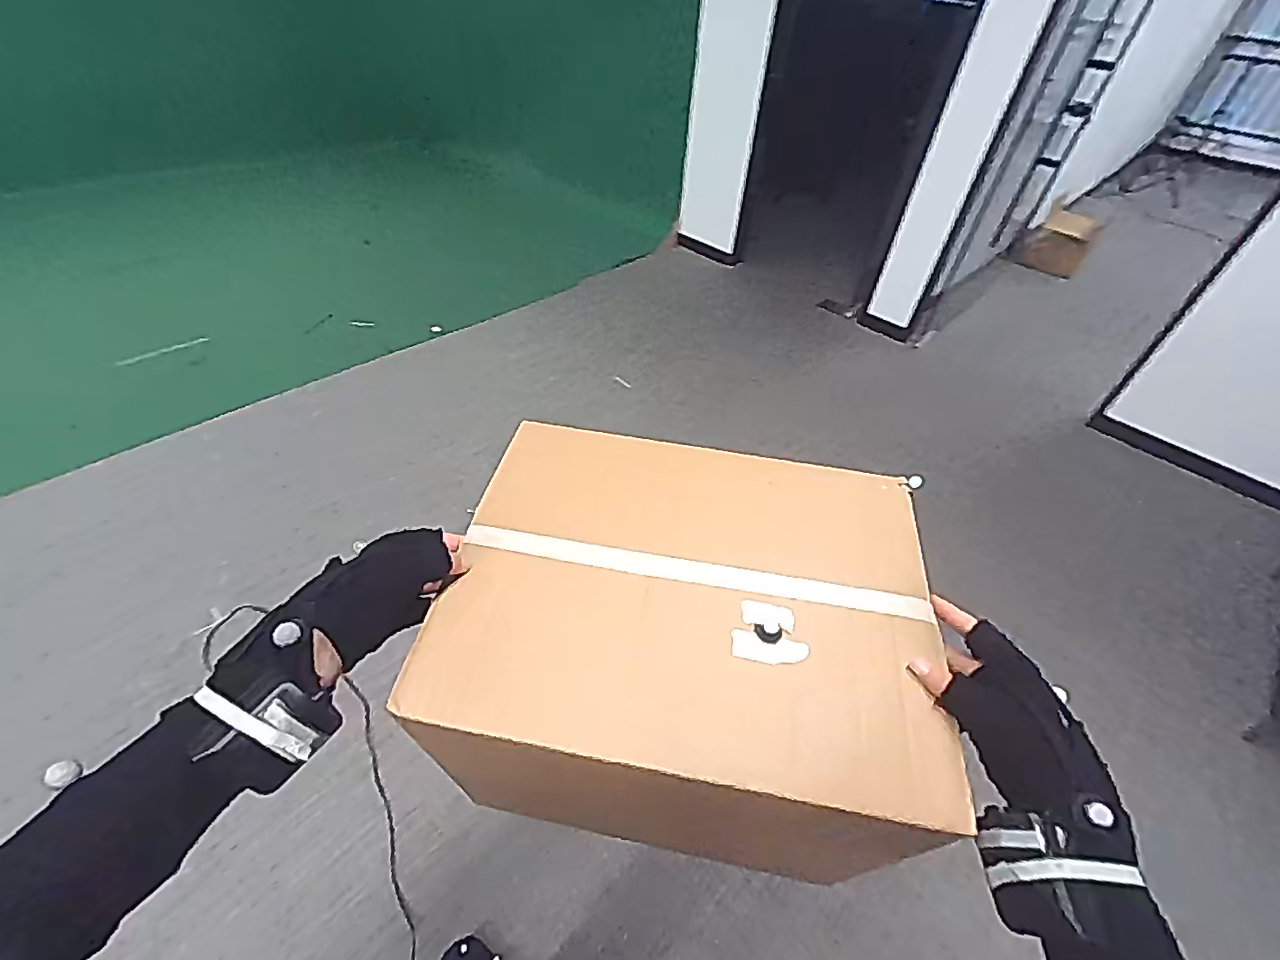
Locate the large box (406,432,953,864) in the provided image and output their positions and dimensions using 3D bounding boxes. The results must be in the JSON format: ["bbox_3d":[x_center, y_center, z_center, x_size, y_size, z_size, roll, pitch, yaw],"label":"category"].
[{"bbox_3d":[0.037,0.182,0.591,0.408,0.320,0.320,8,49,5],"label":"large box"}]
